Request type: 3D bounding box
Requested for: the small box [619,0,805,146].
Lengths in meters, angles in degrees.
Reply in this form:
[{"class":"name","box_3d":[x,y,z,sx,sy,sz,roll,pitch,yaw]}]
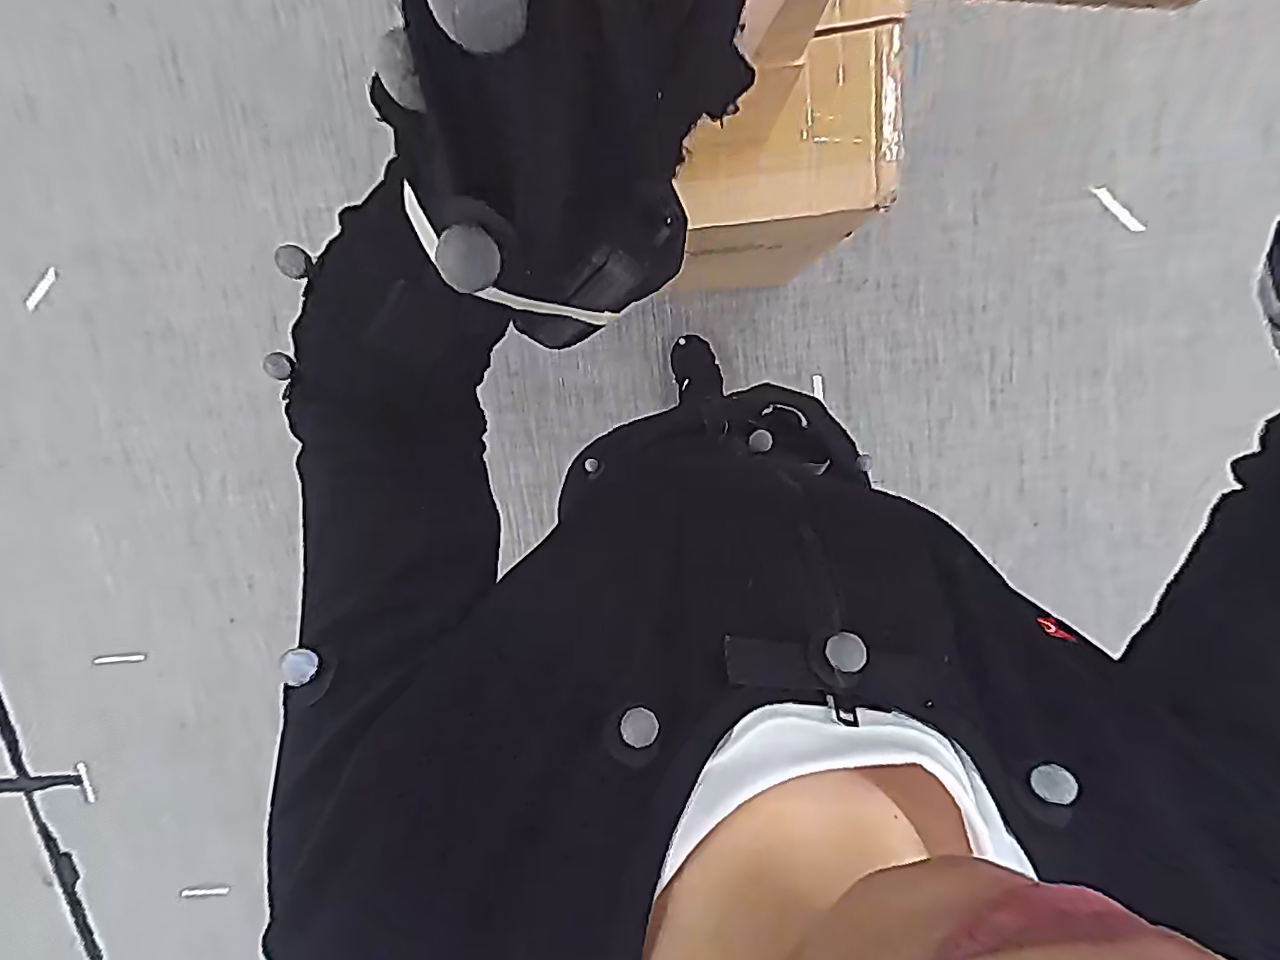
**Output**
[{"class":"small box","box_3d":[0.069,-0.487,0.585,0.179,0.176,0.168,-5,101,2]}]
